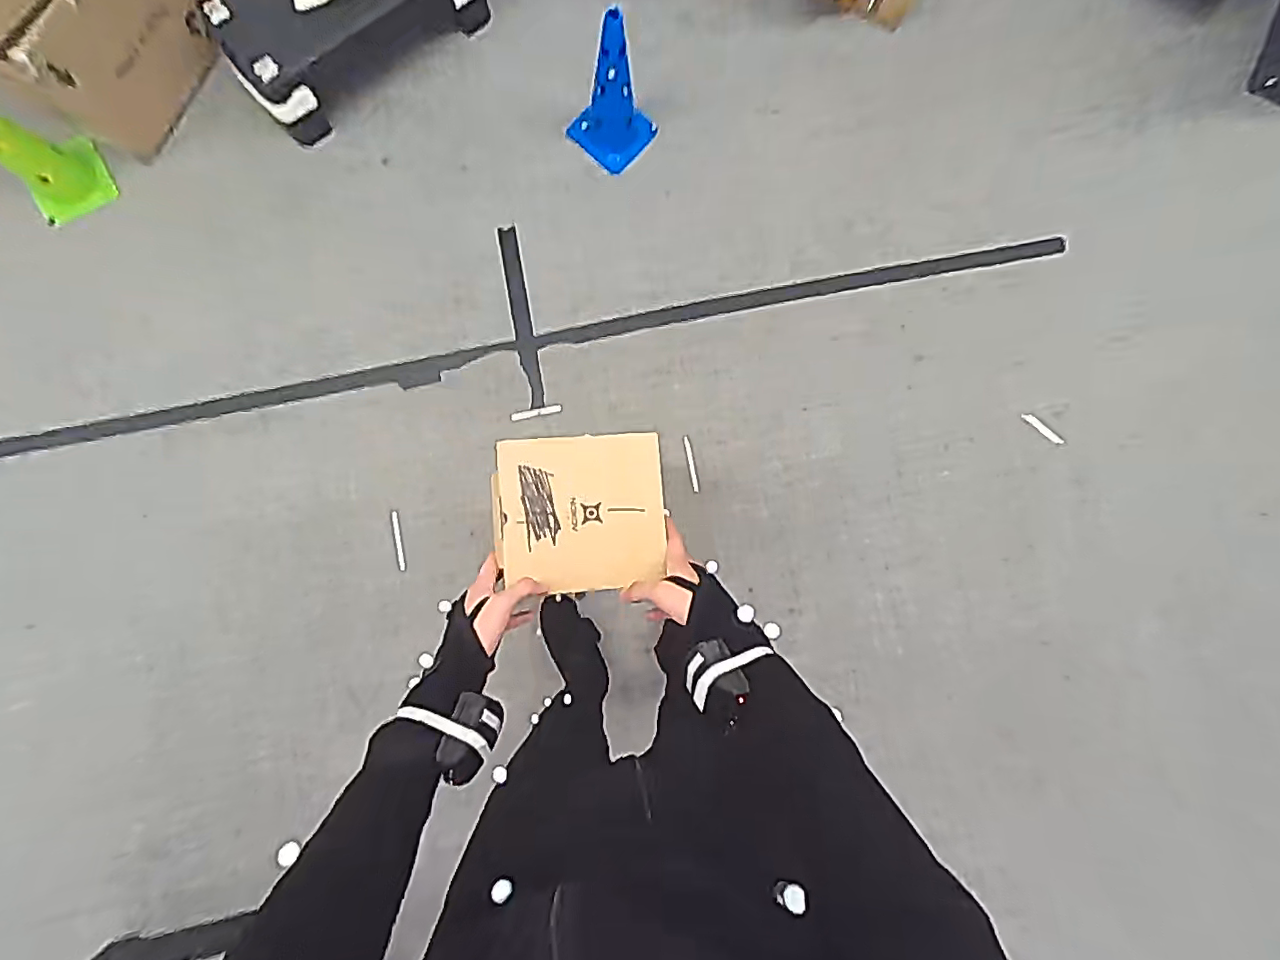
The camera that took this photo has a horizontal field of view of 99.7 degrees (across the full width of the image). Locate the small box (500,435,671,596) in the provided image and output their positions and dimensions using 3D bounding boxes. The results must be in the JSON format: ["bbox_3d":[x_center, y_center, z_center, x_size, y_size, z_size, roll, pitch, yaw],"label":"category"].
[{"bbox_3d":[-0.062,0.045,0.649,0.179,0.176,0.168,-4,85,-4],"label":"small box"}]
